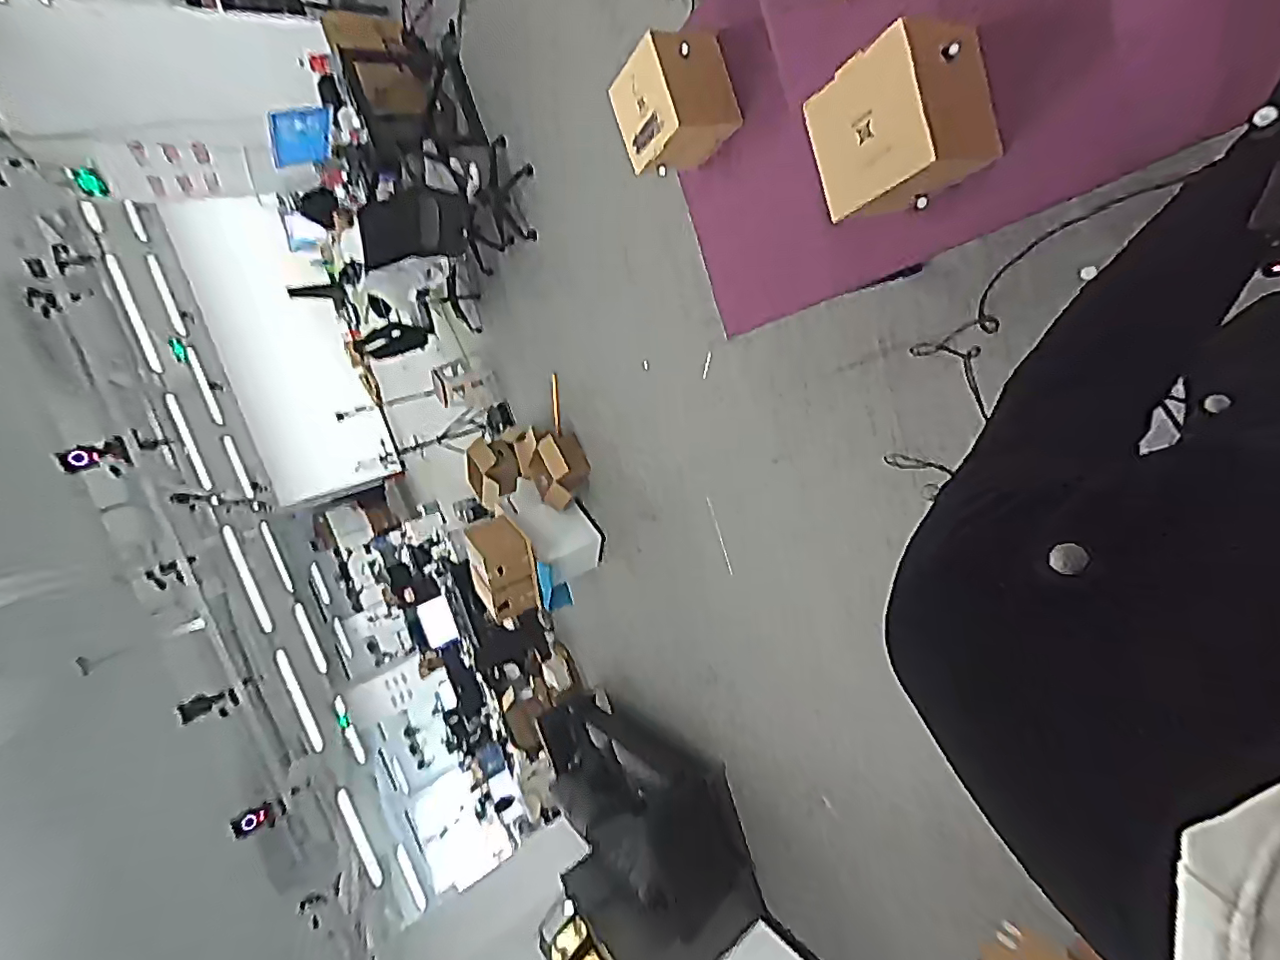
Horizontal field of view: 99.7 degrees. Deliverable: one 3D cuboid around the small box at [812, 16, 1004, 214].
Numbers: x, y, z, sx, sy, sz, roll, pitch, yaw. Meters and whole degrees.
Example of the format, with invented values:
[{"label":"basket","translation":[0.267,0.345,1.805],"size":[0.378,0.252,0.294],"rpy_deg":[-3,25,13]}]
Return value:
[{"label":"small box","translation":[0.386,-0.512,0.782],"size":[0.168,0.176,0.179],"rpy_deg":[-5,104,62]}]
